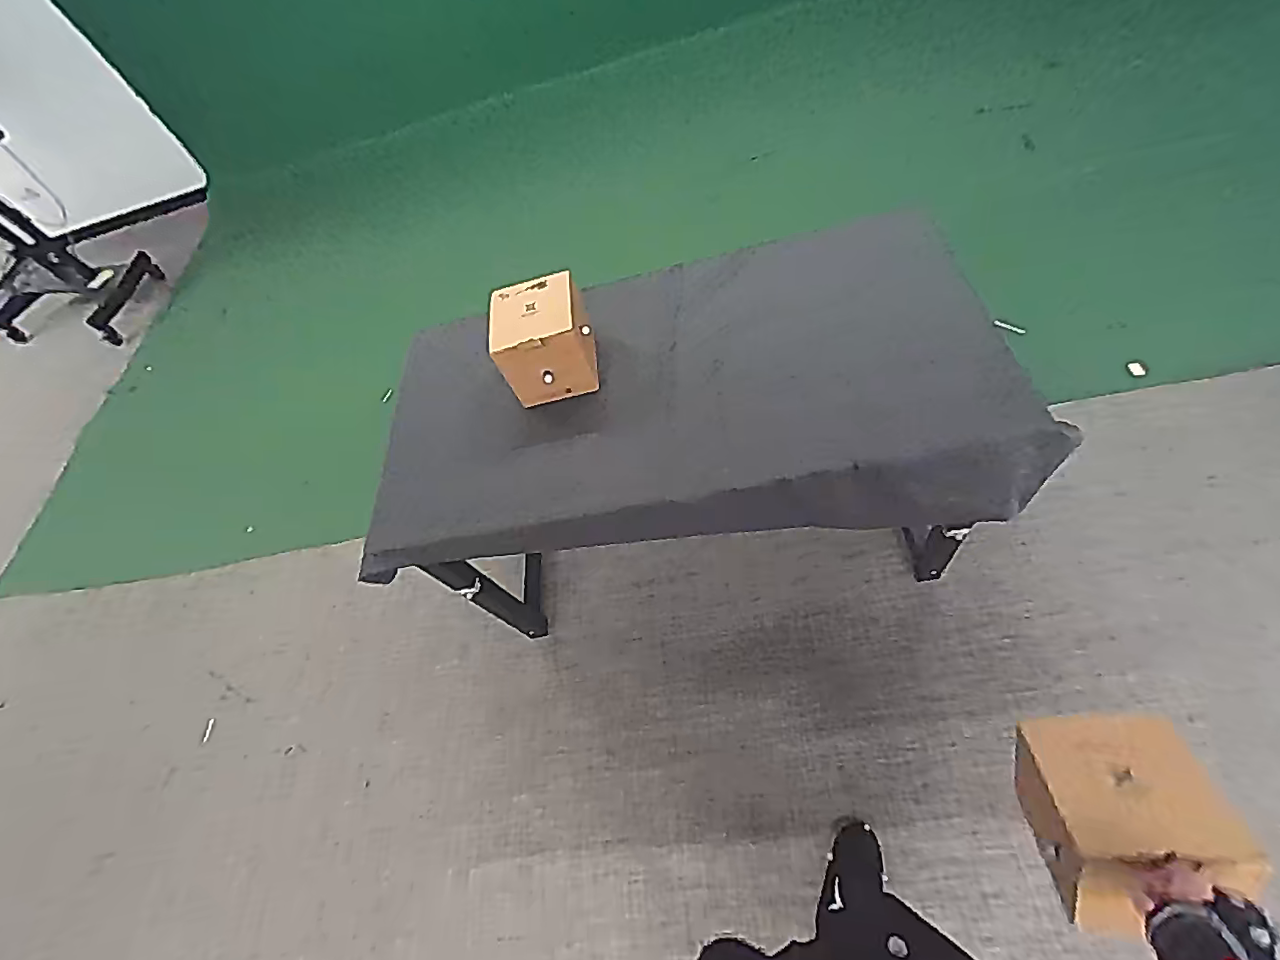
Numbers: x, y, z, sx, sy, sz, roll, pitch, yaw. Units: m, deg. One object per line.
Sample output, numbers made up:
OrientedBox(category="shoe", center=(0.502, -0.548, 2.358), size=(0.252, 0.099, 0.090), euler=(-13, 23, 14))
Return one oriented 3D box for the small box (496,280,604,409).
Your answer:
OrientedBox(category="small box", center=(-0.181, -0.266, 1.105), size=(0.168, 0.176, 0.179), euler=(-16, 56, 7))
